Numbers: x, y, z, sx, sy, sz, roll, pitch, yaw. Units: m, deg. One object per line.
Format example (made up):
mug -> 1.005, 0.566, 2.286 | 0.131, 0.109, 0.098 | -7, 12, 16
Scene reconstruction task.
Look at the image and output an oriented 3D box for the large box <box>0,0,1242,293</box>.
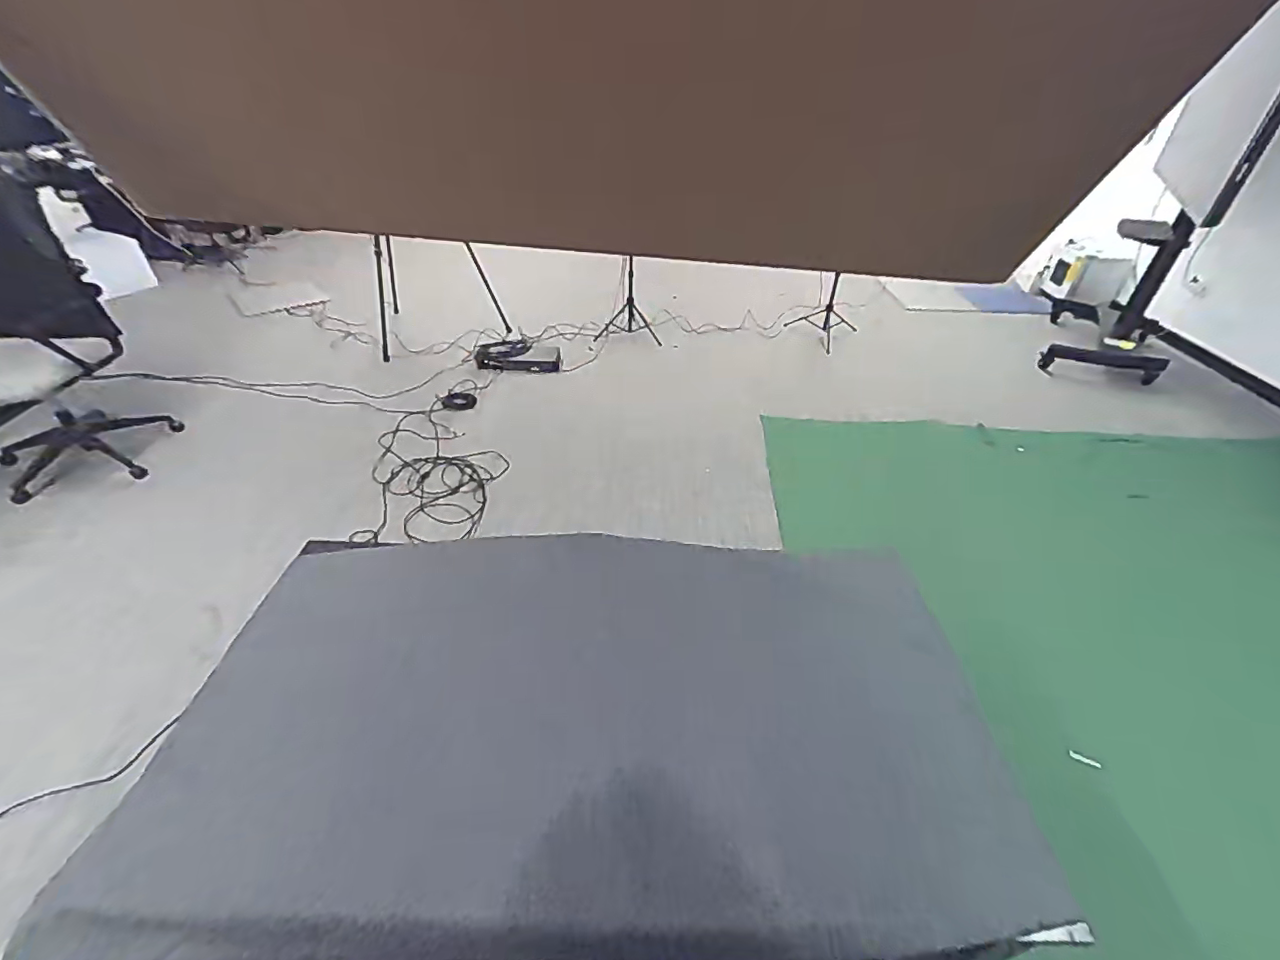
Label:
large box -> -0.016, -0.293, 0.182 | 0.408, 0.320, 0.320 | 3, 70, -2
